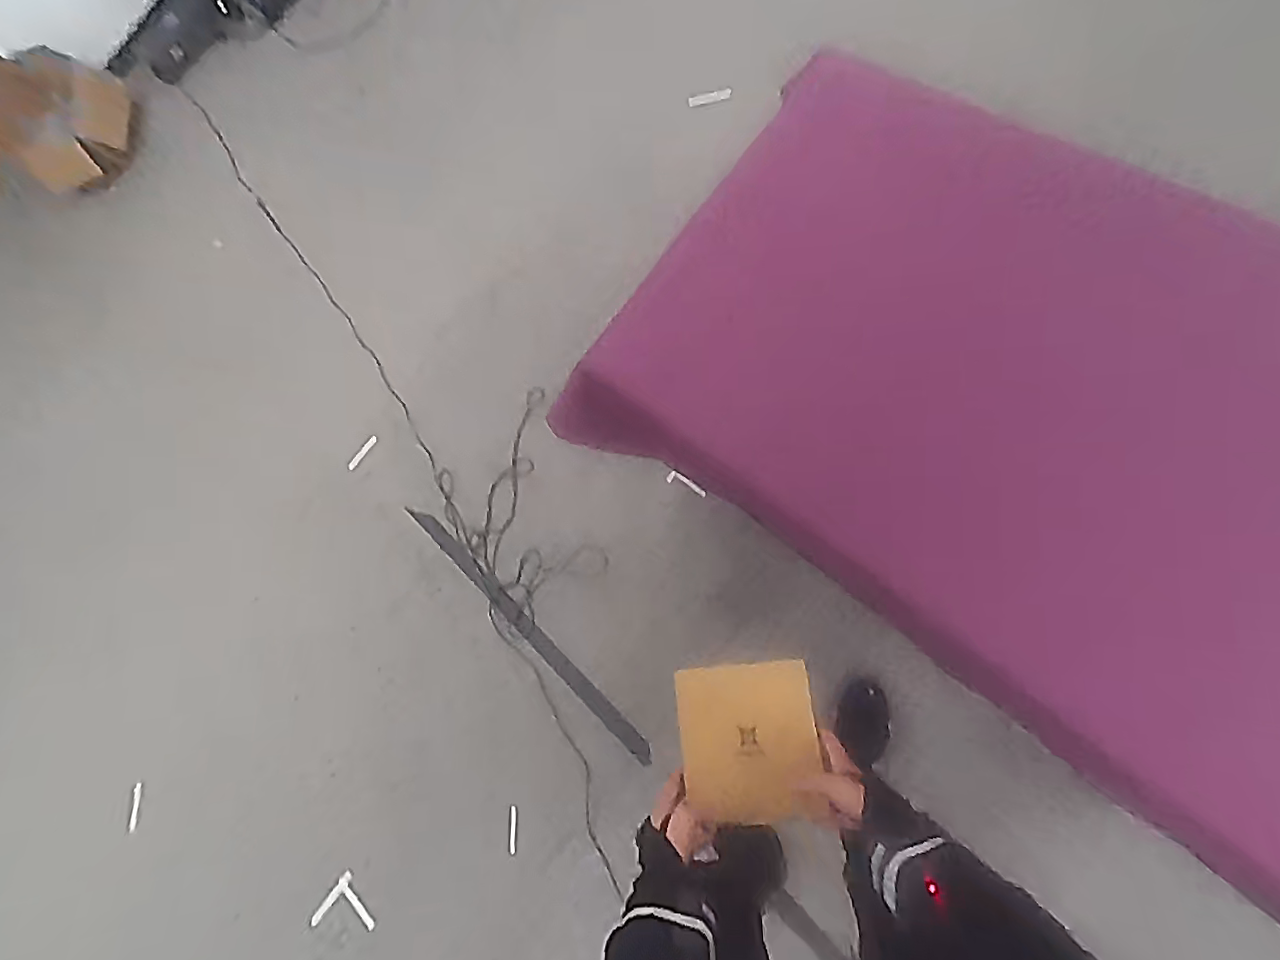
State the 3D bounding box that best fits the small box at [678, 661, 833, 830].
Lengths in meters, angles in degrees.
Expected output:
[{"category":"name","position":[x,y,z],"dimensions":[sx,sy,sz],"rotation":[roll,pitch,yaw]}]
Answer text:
[{"category":"small box","position":[0.141,0.342,0.727],"dimensions":[0.168,0.176,0.179],"rotation":[-7,72,4]}]
